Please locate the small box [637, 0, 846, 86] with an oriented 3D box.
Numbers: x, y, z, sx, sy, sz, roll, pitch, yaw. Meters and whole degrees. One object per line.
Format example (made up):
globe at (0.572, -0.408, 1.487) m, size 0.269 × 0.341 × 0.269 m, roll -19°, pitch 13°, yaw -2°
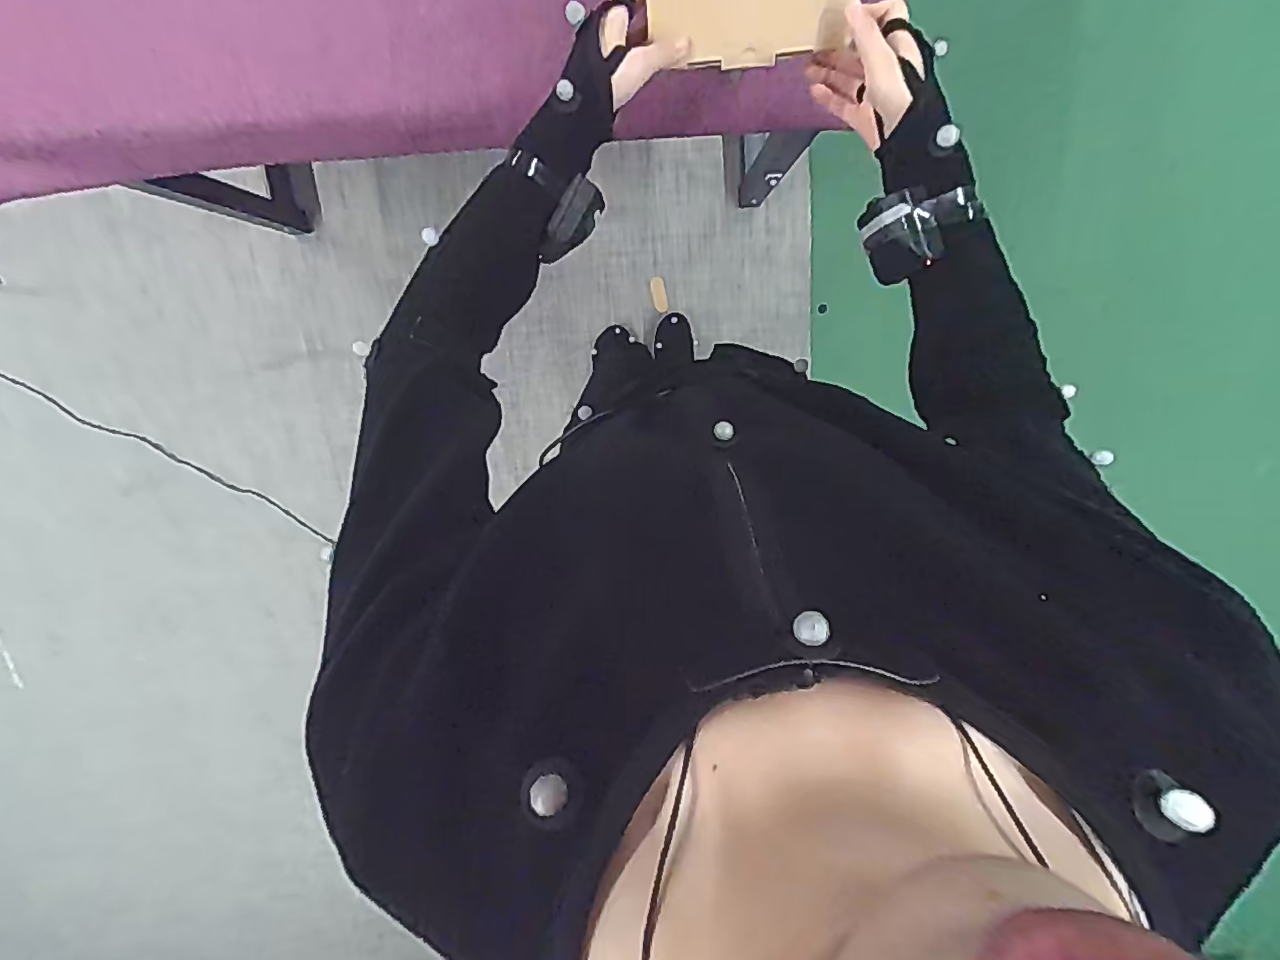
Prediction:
small box at (0.081, -0.457, 0.461) m, size 0.168 × 0.176 × 0.179 m, roll -2°, pitch 129°, yaw 5°
